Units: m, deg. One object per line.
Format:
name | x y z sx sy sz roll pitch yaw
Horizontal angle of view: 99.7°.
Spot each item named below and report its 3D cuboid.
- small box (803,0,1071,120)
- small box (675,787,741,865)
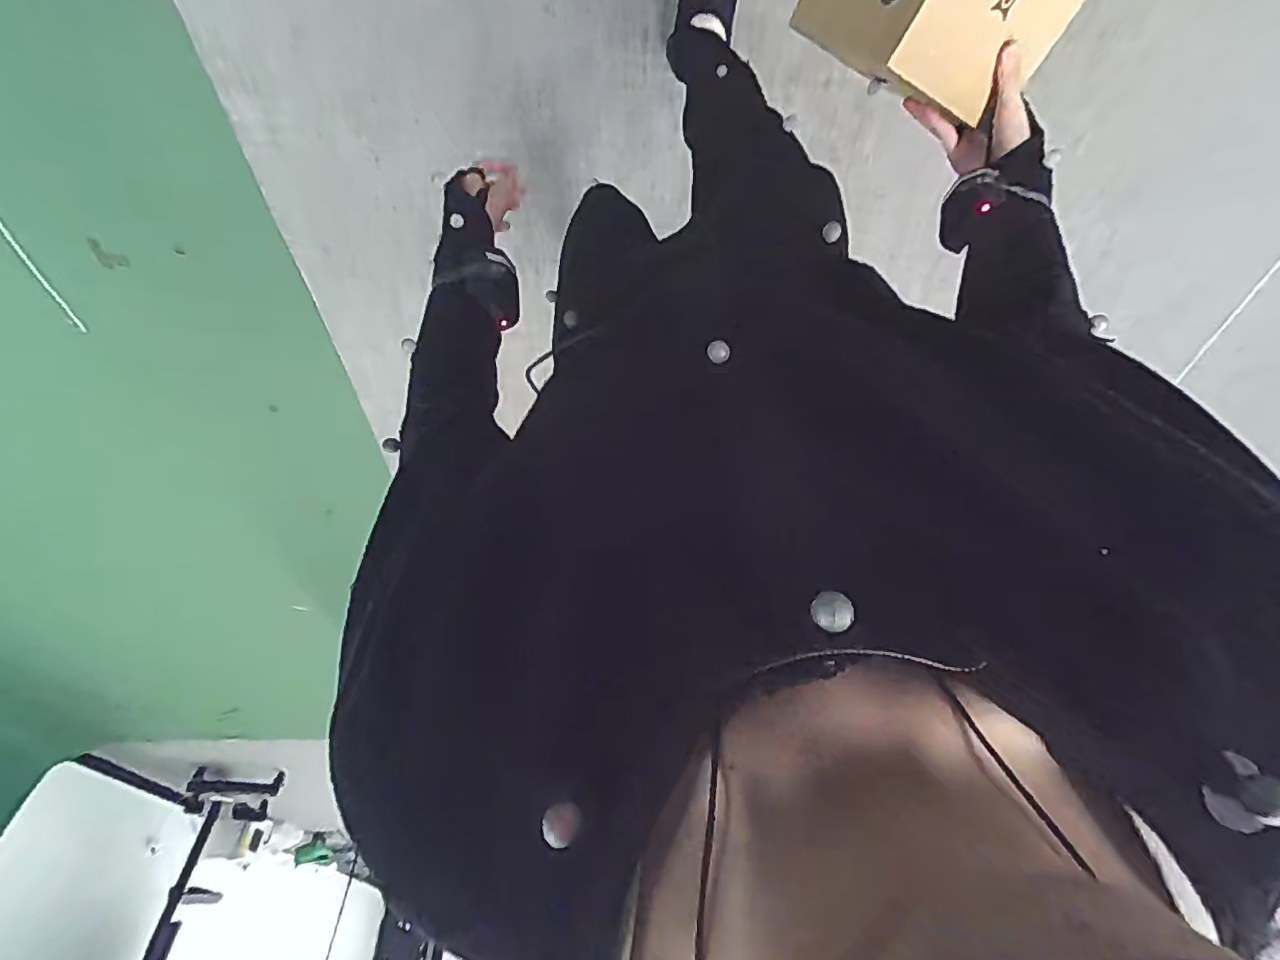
small box | 0.275 -0.474 0.488 0.168 0.176 0.179 1 135 -32
small box | 0.197 1.039 1.629 0.168 0.176 0.179 1 136 -2
